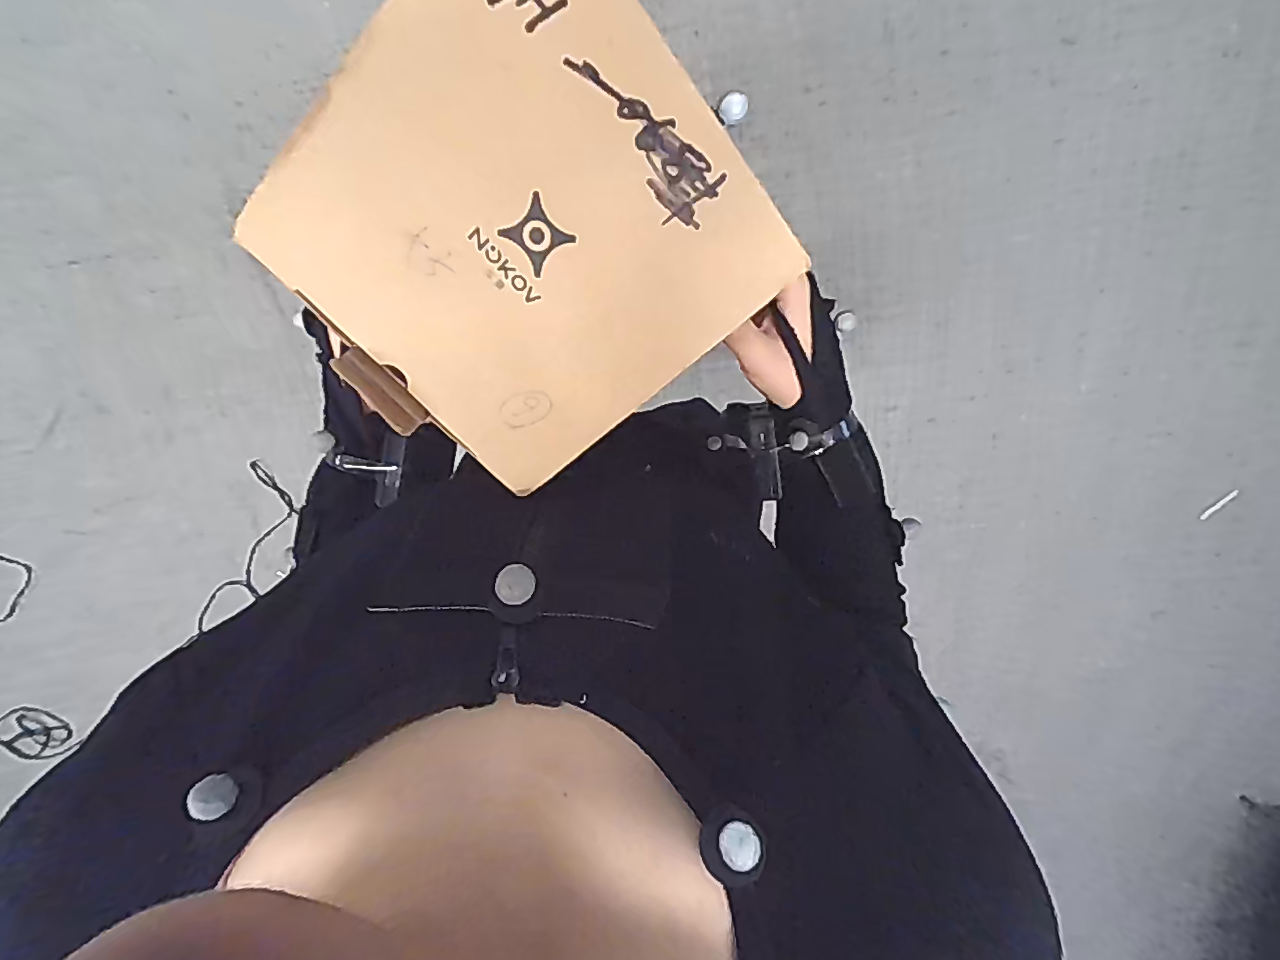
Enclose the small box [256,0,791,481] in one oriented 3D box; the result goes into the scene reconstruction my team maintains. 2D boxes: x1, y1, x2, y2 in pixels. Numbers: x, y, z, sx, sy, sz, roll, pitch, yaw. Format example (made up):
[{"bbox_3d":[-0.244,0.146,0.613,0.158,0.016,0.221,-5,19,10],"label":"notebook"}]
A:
[{"bbox_3d":[-0.047,-0.138,0.300,0.179,0.176,0.168,-37,112,20],"label":"small box"}]
